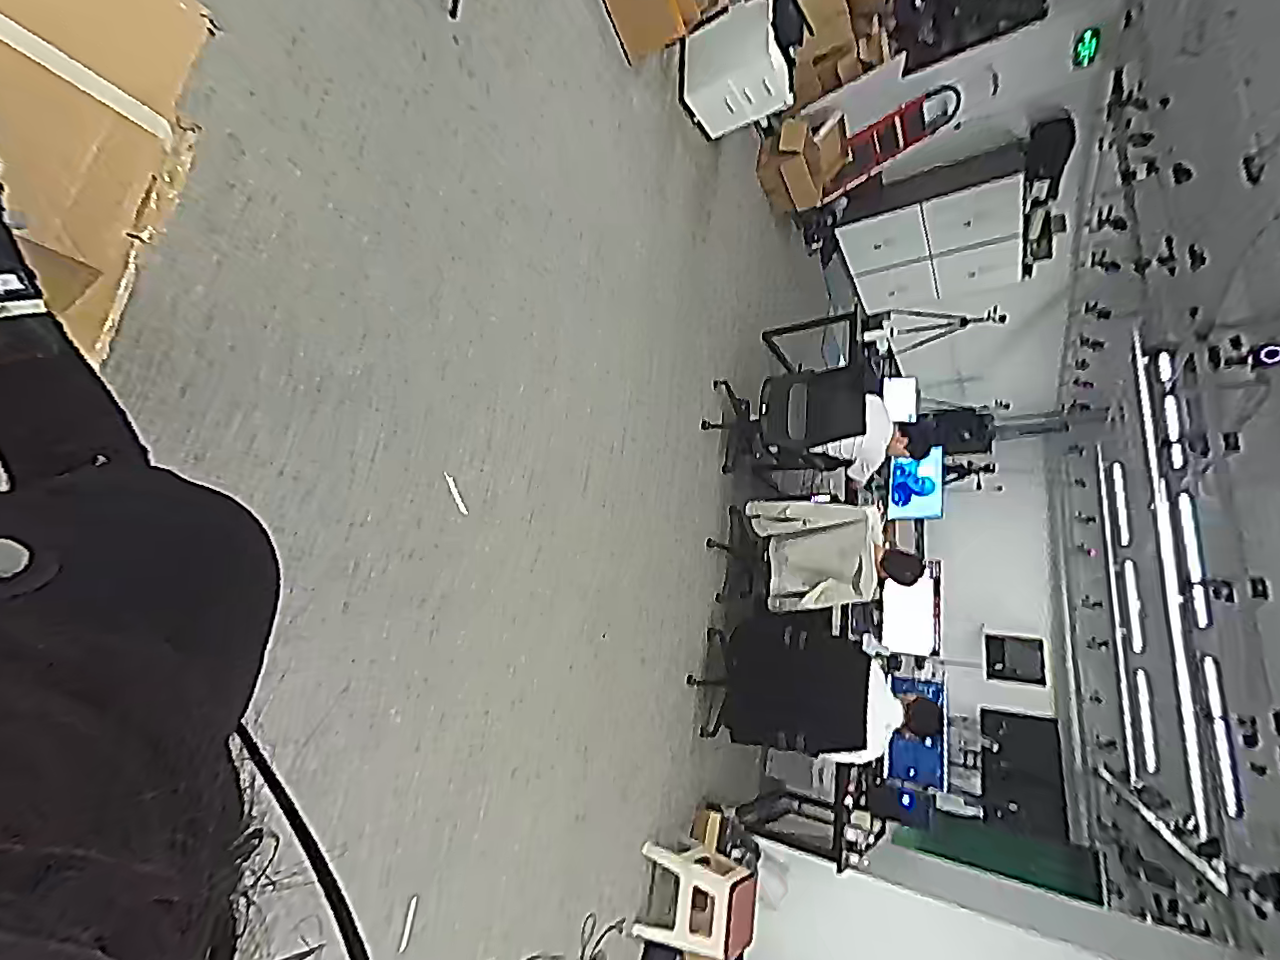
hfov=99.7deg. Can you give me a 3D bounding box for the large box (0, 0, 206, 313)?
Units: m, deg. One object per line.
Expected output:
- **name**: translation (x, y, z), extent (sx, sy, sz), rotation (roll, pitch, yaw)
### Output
- **large box**: translation (-0.704, -0.402, 0.452), extent (0.408, 0.320, 0.320), rotation (28, 65, -53)
